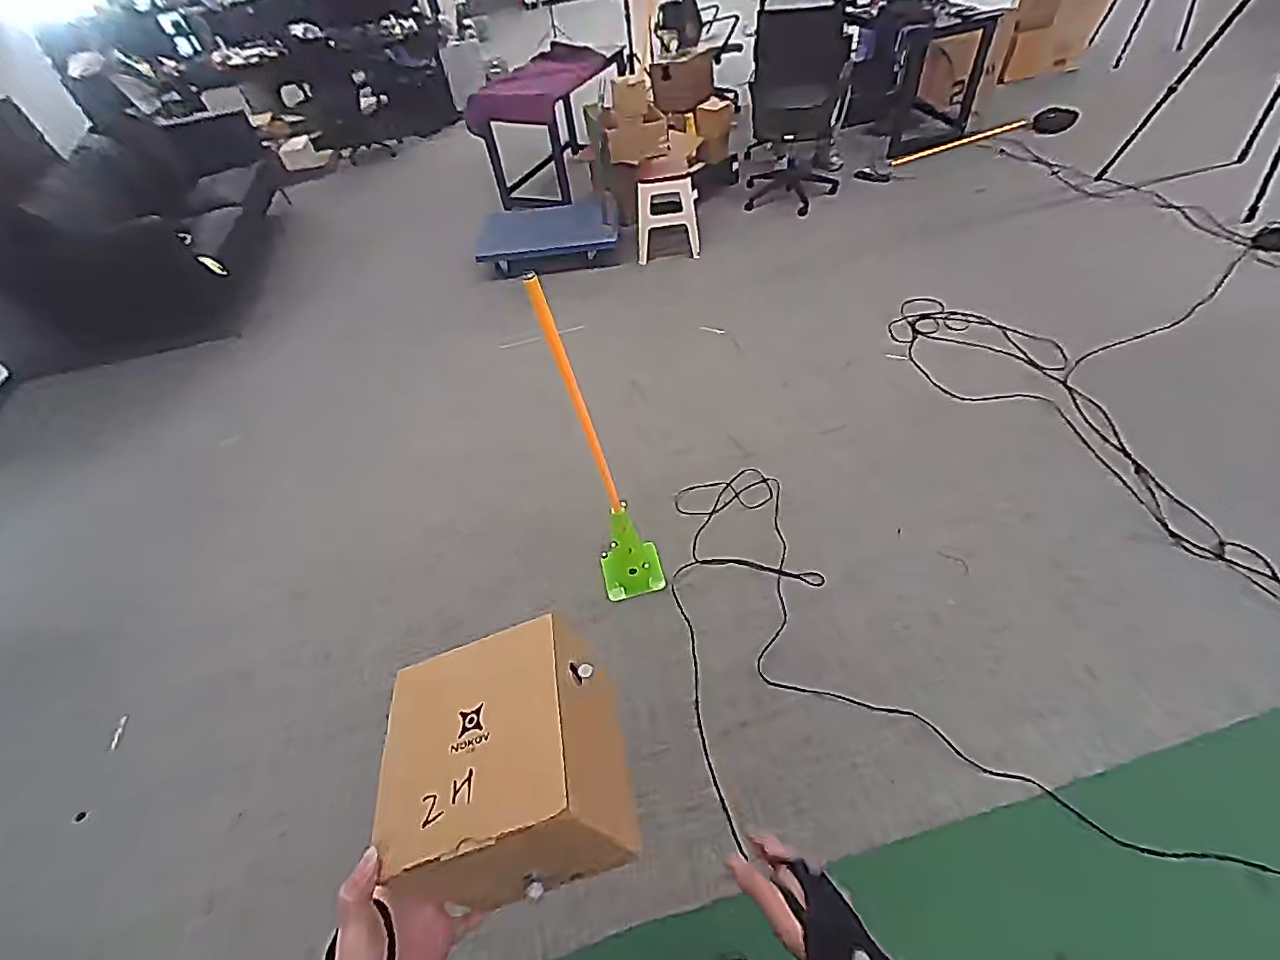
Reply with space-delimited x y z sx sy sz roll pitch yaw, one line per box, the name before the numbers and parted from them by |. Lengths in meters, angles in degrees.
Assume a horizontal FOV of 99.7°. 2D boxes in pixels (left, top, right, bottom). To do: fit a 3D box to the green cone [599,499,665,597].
green cone | -0.046 0.192 1.738 0.202 0.368 0.200 -13 49 -5
